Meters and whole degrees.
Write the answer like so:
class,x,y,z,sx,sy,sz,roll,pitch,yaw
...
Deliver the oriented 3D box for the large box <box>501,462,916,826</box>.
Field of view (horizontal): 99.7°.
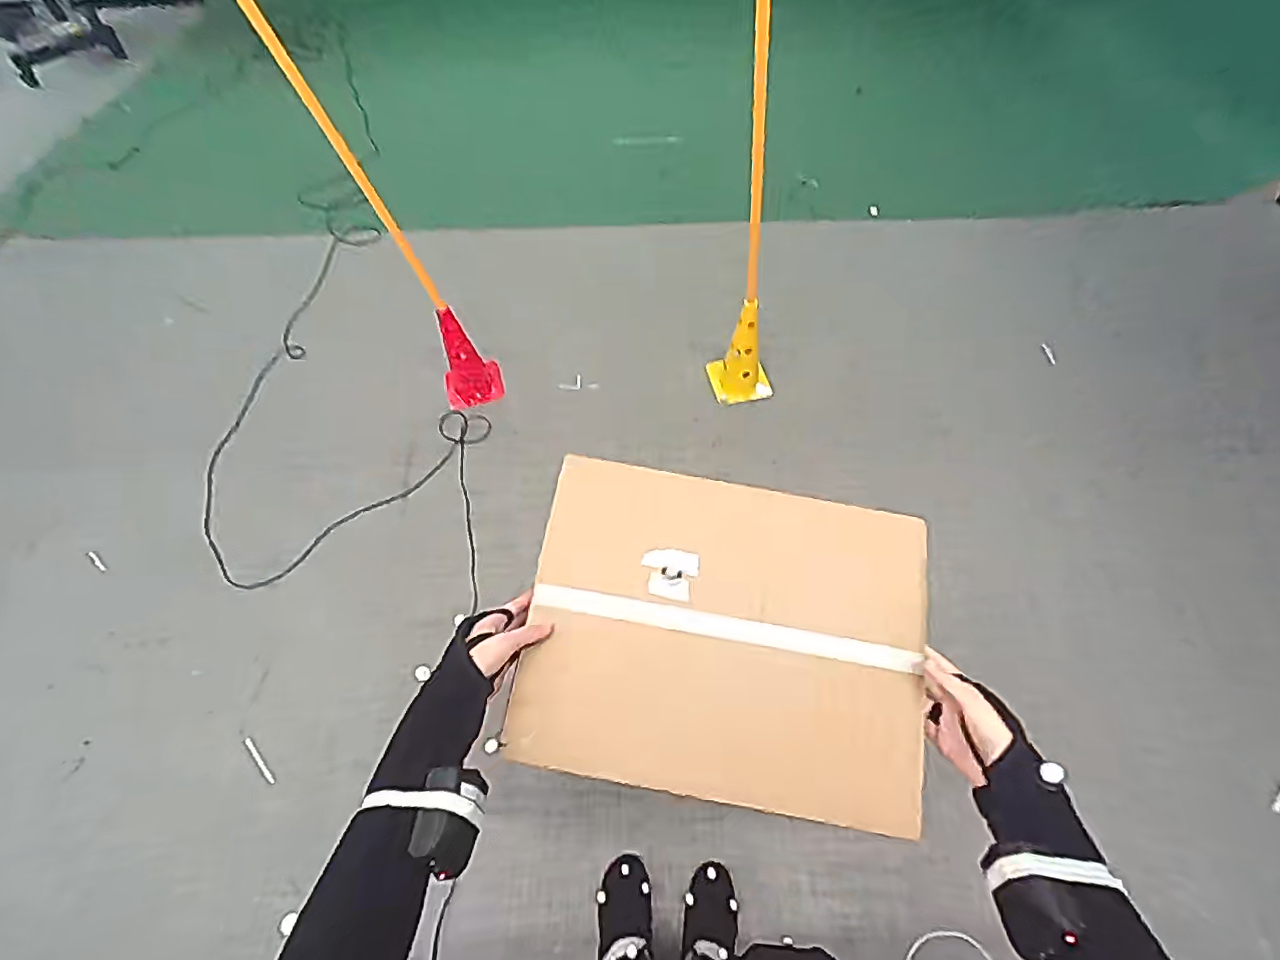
class,x,y,z,sx,sy,sz,roll,pitch,yaw
large box,0.084,0.196,0.701,0.408,0.320,0.320,10,72,3
